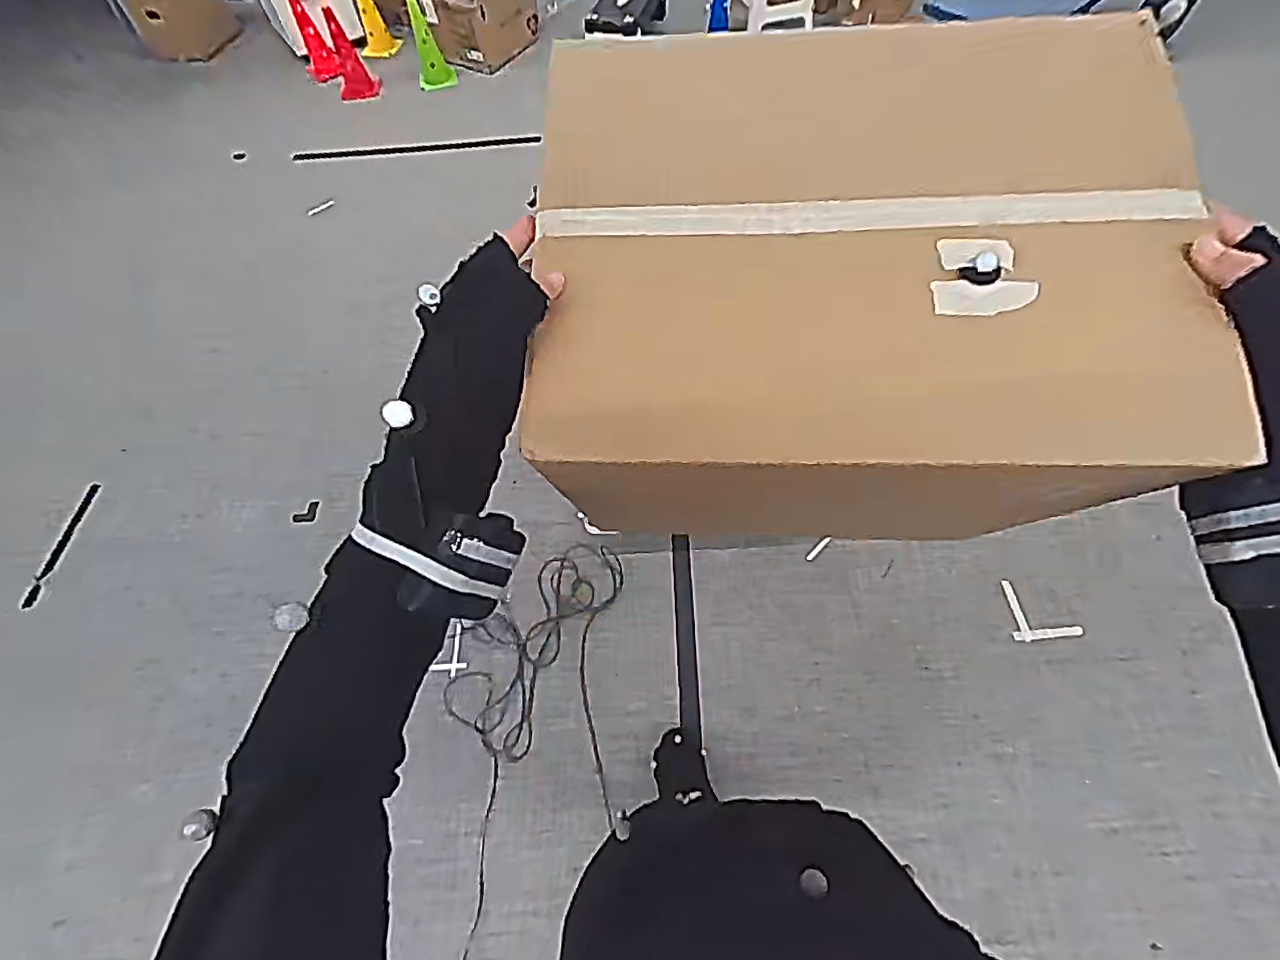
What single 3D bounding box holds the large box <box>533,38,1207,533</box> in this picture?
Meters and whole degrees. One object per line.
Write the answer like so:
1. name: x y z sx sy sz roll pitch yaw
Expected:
1. large box: 0.139 -0.126 0.503 0.408 0.320 0.320 0 77 4
